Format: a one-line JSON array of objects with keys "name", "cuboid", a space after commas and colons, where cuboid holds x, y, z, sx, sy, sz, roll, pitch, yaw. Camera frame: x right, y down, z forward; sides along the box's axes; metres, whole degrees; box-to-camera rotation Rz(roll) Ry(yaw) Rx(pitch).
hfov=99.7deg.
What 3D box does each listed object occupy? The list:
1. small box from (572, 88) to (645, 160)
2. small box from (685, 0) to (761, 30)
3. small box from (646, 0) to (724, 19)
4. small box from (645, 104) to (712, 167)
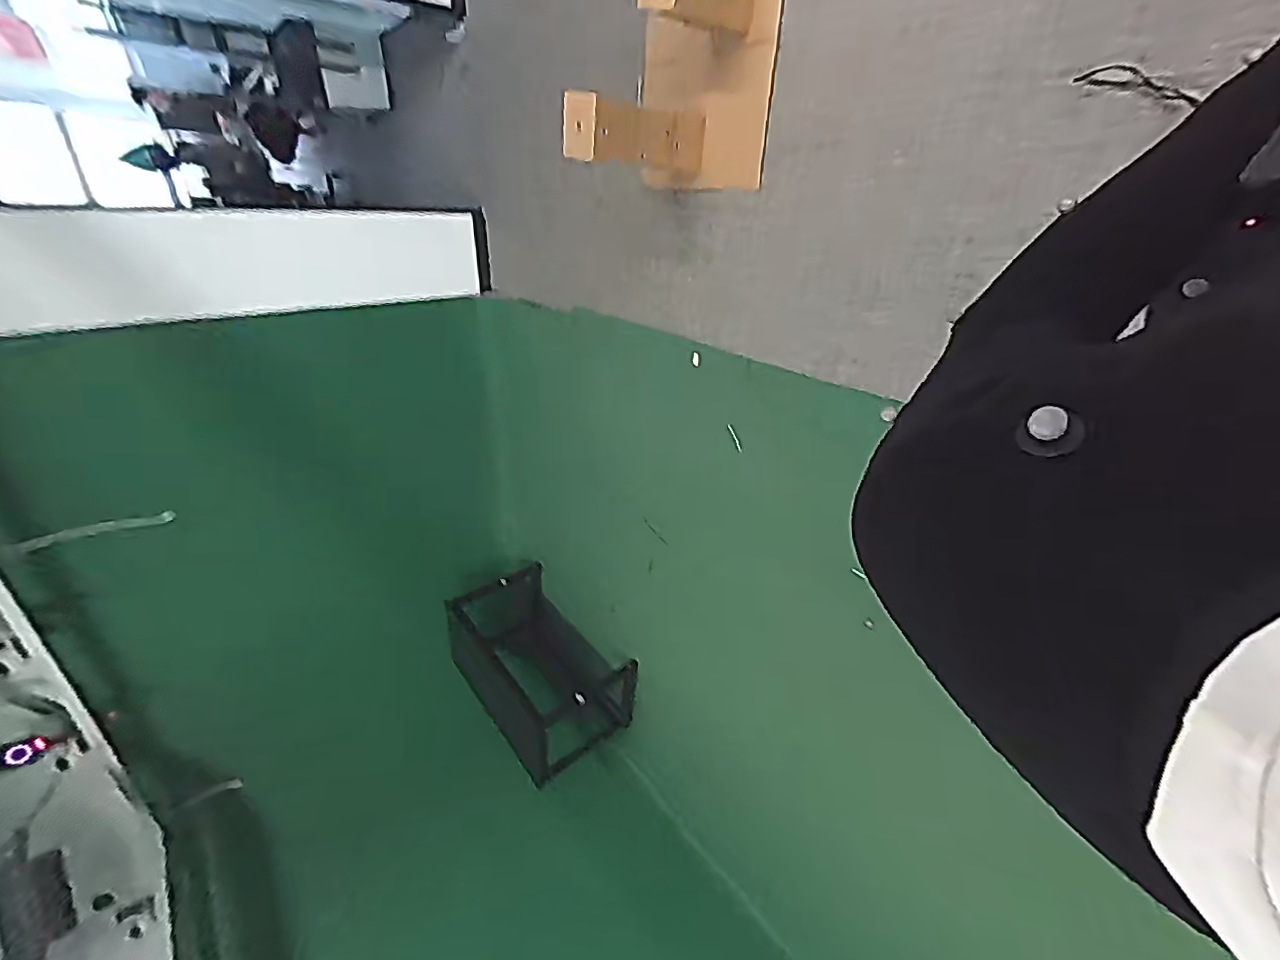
[{"name": "small box", "cuboid": [-0.101, -1.136, 1.732, 0.168, 0.176, 0.179, 36, 132, 37]}, {"name": "small box", "cuboid": [0.262, -1.501, 1.646, 0.168, 0.176, 0.179, 36, 133, 38]}, {"name": "small box", "cuboid": [0.141, -1.452, 1.545, 0.168, 0.176, 0.179, 40, 136, 35]}, {"name": "small box", "cuboid": [0.138, -1.231, 1.935, 0.168, 0.176, 0.179, 35, 131, 39]}]
